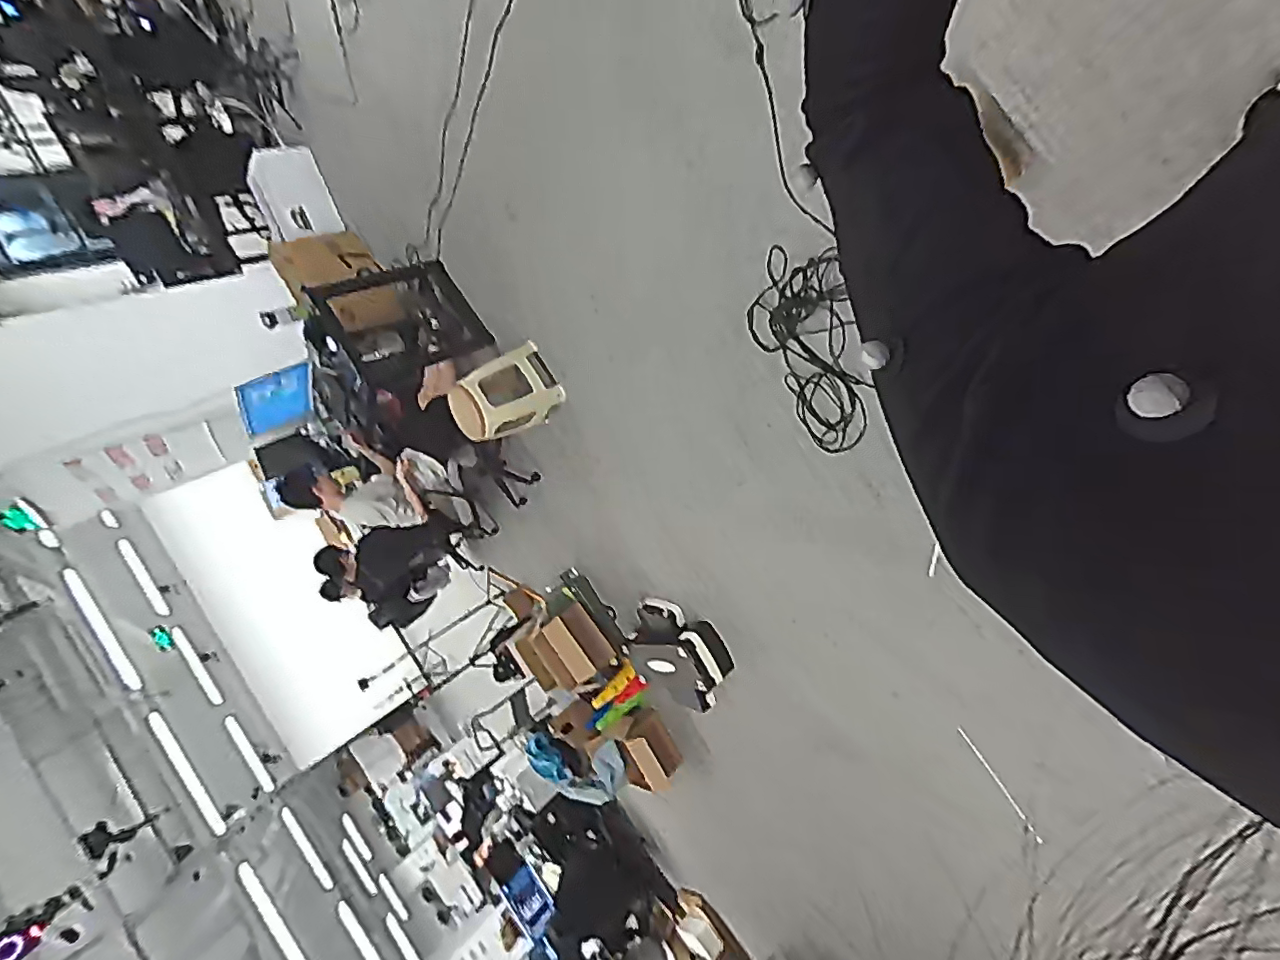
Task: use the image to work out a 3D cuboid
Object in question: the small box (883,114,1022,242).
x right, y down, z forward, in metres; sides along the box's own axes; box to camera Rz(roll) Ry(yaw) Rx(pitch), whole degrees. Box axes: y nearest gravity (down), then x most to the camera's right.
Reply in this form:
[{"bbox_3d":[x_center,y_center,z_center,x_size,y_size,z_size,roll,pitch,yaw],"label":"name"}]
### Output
[{"bbox_3d":[0.671,-0.649,1.162,0.179,0.176,0.168,55,146,4],"label":"small box"}]
